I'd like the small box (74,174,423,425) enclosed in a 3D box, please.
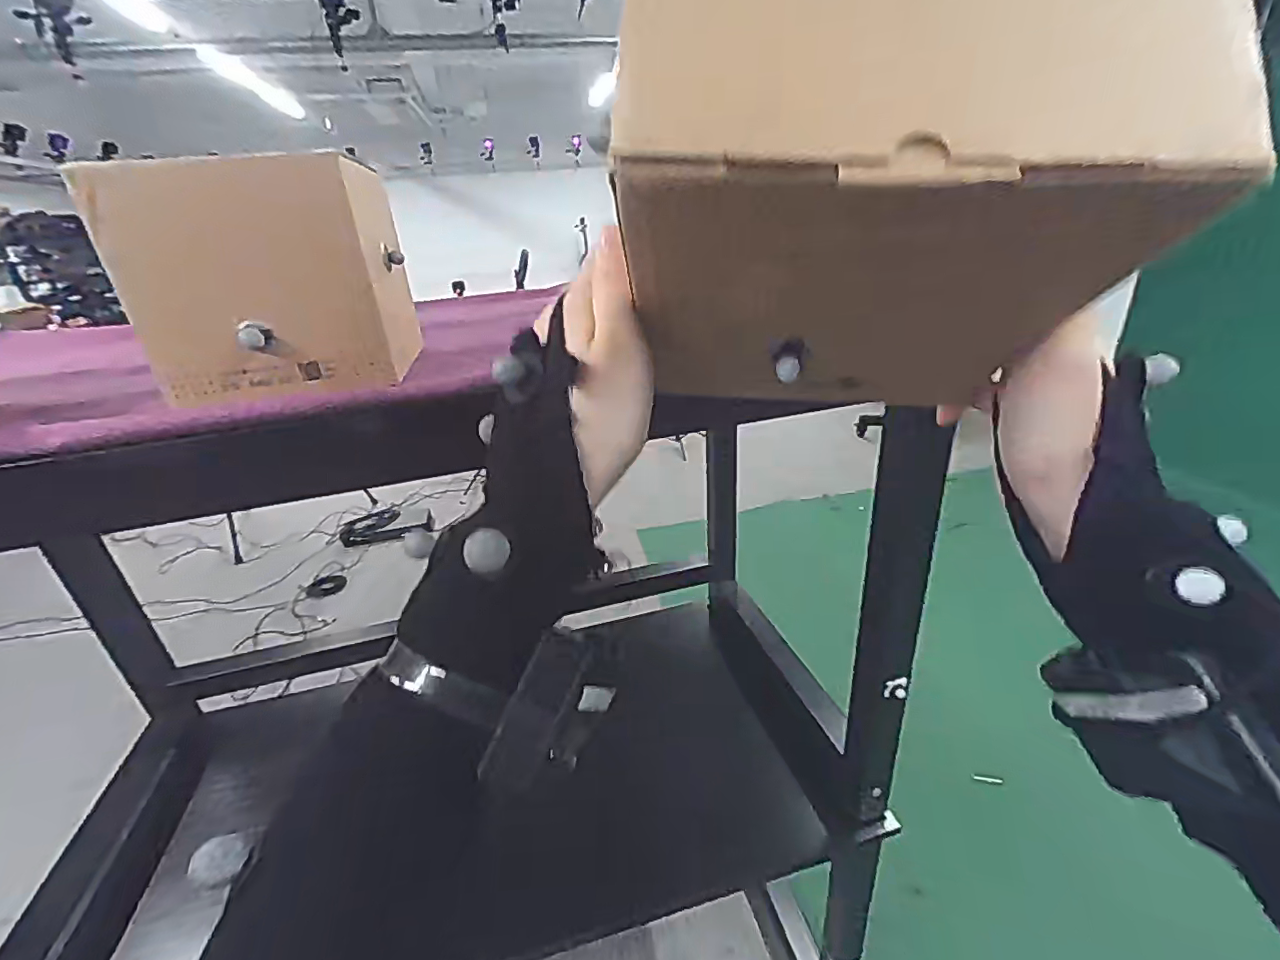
[{"bbox_3d":[-0.298,-0.158,0.467,0.168,0.176,0.179,-10,28,-10],"label":"small box"}]

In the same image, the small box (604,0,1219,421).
[{"bbox_3d":[0.081,-0.137,0.241,0.168,0.179,0.176,3,-10,5],"label":"small box"}]
